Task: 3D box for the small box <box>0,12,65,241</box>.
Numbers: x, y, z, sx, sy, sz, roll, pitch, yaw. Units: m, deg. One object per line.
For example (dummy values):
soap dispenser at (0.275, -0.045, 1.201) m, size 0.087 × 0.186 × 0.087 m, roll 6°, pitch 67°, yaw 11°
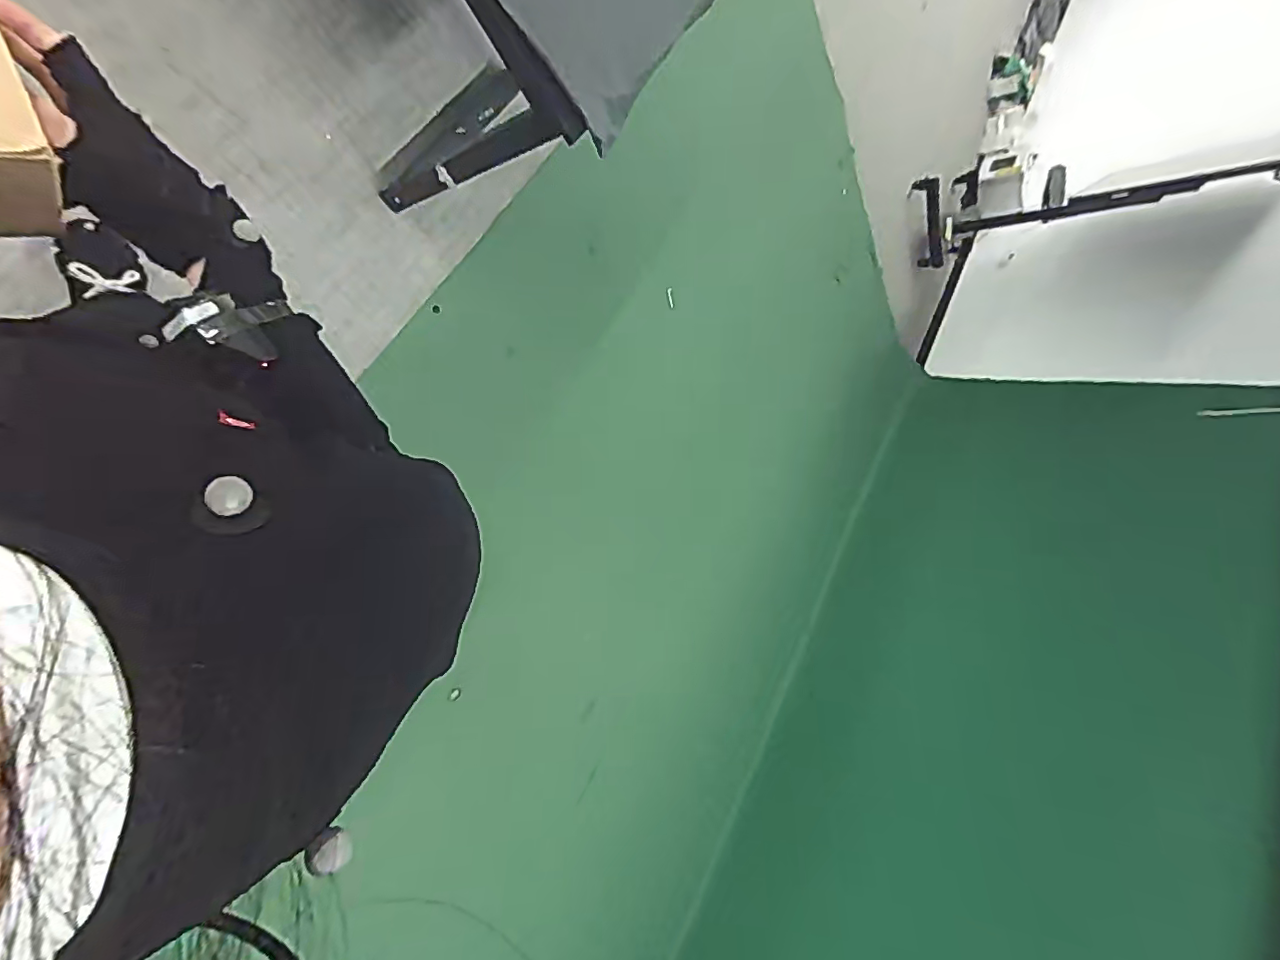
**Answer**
small box at (-0.435, -0.229, 0.266) m, size 0.168 × 0.176 × 0.179 m, roll -26°, pitch 112°, yaw -41°
